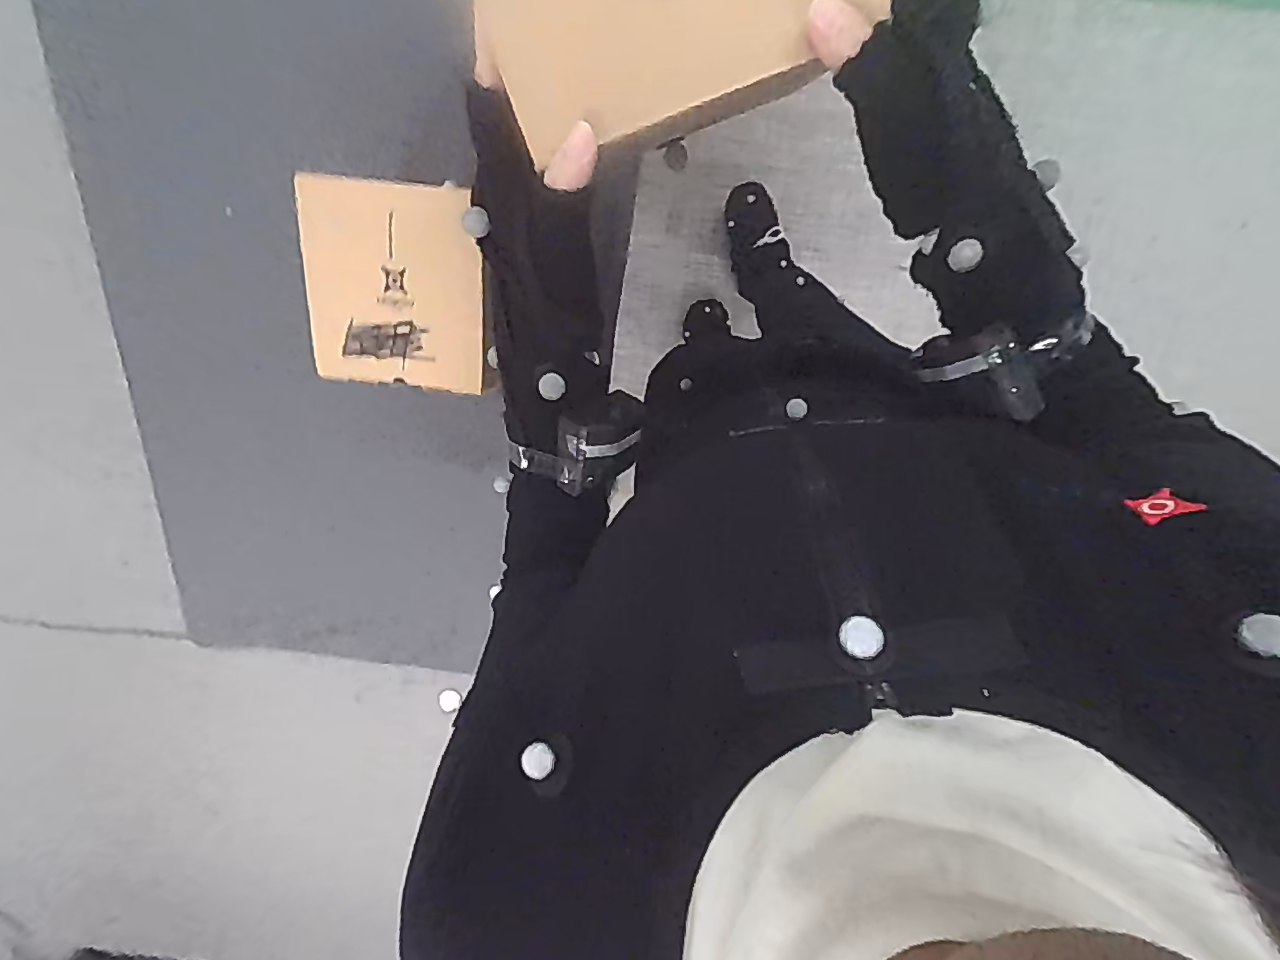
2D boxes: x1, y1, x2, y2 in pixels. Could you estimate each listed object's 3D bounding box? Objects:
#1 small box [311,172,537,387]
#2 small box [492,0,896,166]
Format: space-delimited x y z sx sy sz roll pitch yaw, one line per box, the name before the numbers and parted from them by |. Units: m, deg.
small box | -0.212 -0.210 0.579 0.168 0.176 0.179 7 111 2
small box | 0.008 -0.282 0.275 0.168 0.176 0.179 -15 117 9
